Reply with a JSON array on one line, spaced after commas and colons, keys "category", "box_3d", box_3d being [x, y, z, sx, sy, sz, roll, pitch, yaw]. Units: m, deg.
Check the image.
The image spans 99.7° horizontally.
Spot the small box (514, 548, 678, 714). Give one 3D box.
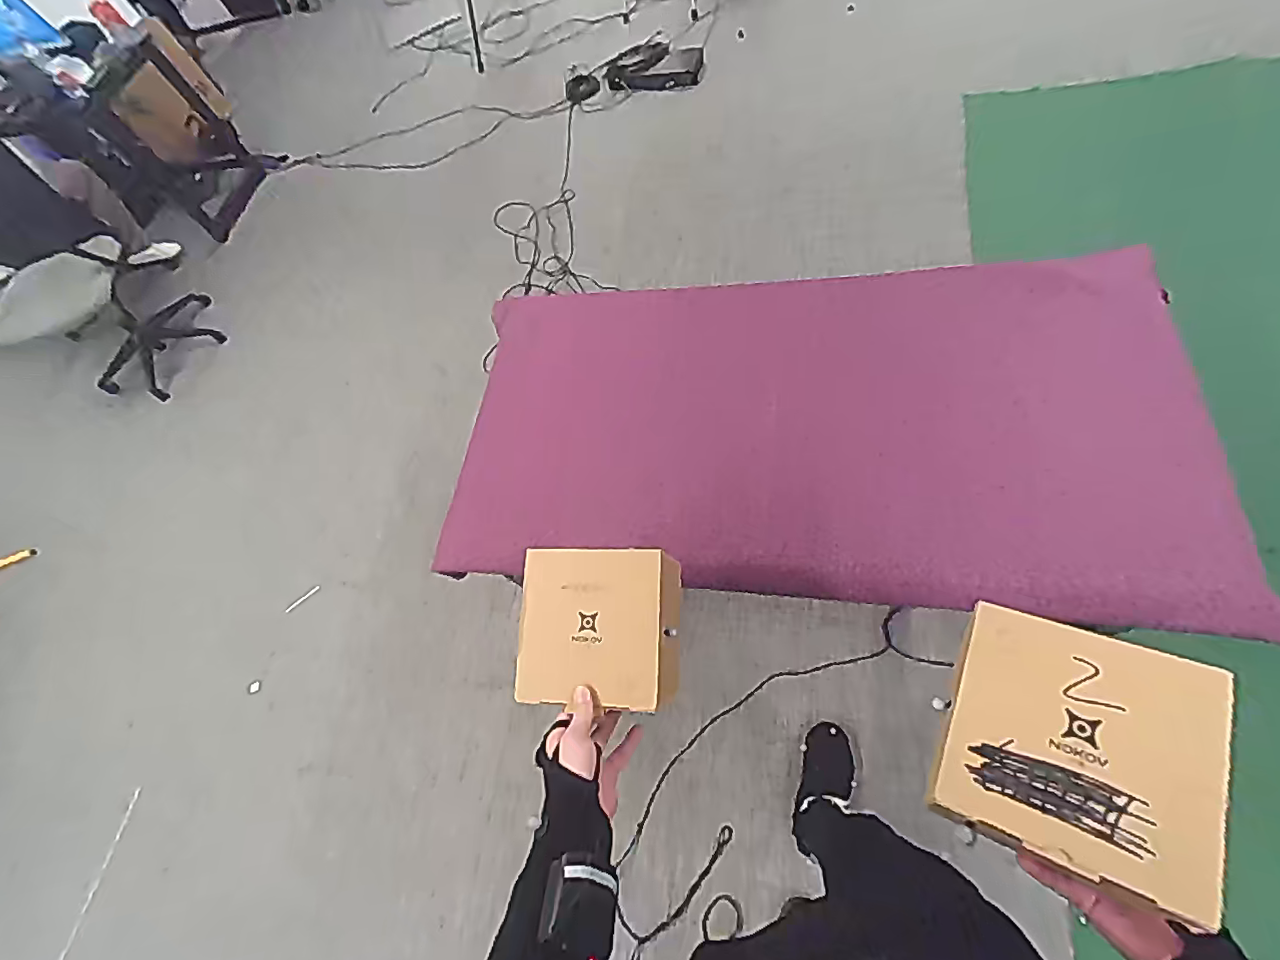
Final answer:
[{"category": "small box", "box_3d": [-0.044, 0.186, 0.691, 0.168, 0.176, 0.179, 0, 75, 12]}]
